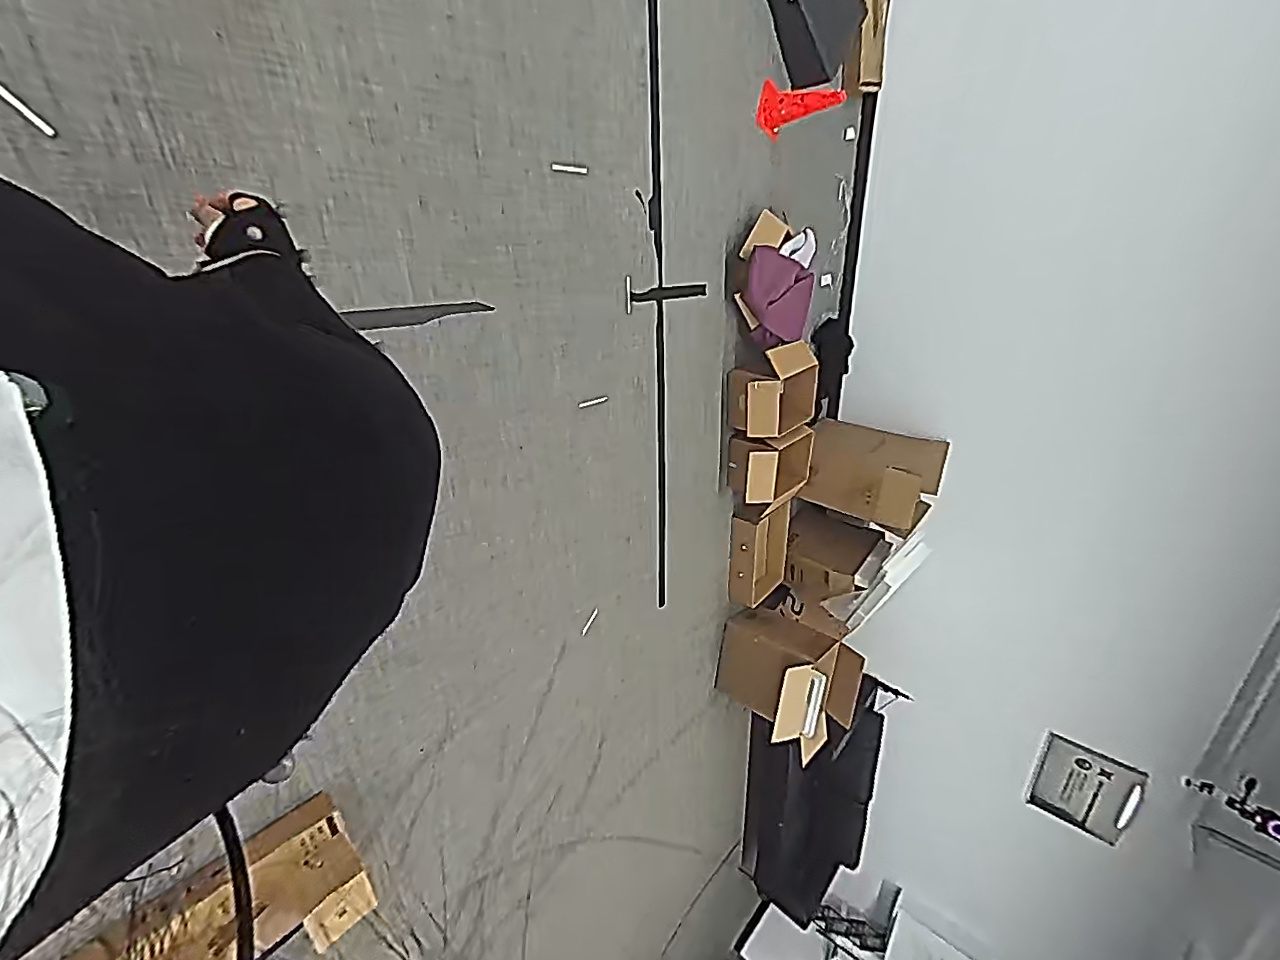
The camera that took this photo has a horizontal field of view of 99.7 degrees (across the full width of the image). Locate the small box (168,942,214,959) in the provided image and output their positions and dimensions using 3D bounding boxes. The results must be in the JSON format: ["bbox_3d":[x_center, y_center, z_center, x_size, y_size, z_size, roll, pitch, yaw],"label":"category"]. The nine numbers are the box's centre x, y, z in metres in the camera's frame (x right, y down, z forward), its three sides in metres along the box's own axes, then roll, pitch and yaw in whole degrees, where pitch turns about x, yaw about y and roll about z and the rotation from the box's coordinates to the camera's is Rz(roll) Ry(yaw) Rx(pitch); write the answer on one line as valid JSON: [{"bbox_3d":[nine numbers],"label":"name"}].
[{"bbox_3d":[-1.131,1.297,1.324,0.168,0.176,0.179,-28,125,-41],"label":"small box"}]

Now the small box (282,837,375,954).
[{"bbox_3d":[-0.899,1.188,1.560,0.168,0.176,0.179,-26,124,-43],"label":"small box"}]
